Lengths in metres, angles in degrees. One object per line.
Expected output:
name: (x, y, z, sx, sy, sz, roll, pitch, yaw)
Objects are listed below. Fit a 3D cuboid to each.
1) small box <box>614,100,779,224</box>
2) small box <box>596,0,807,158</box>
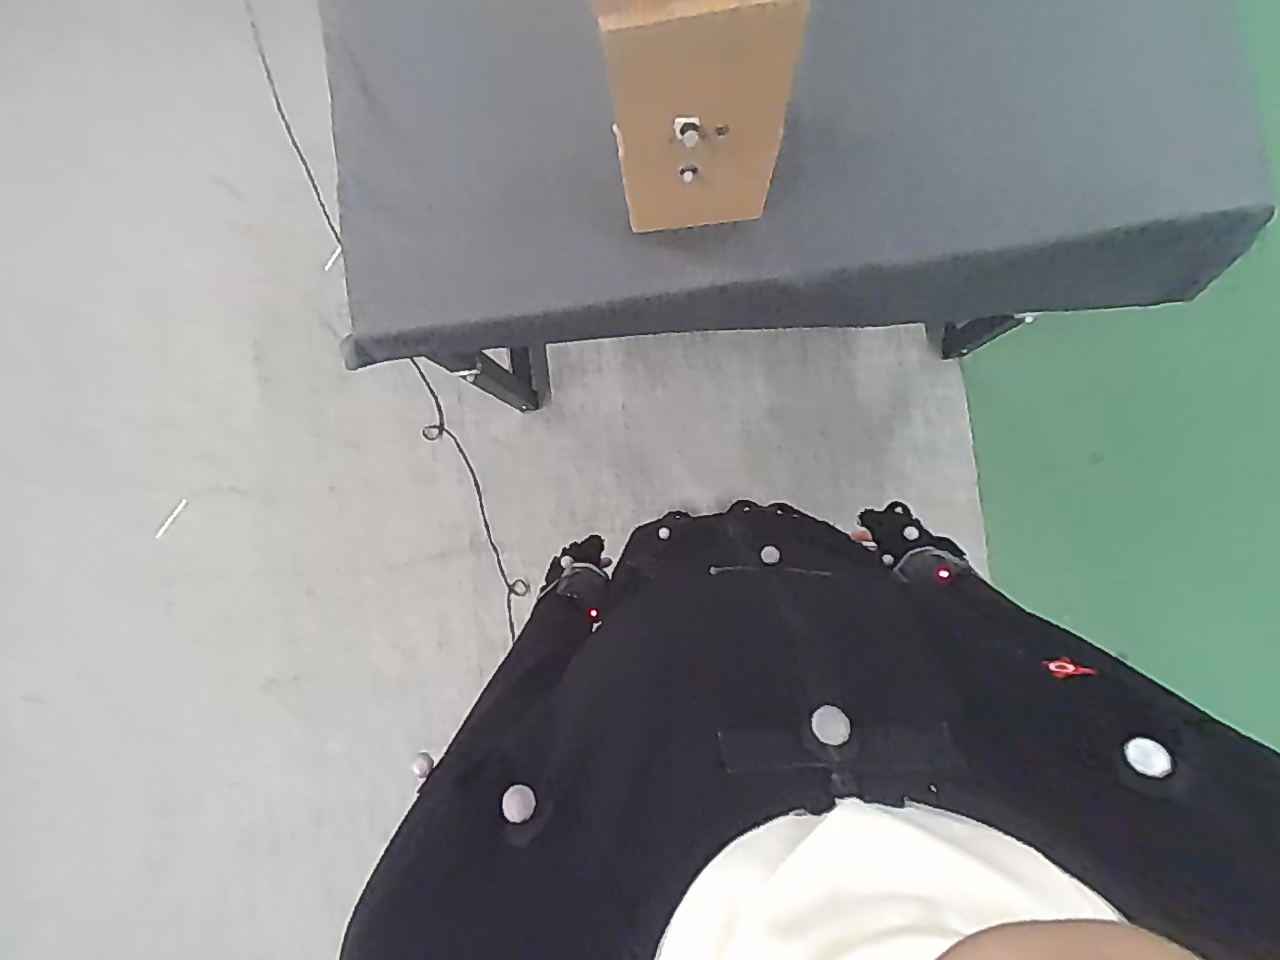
small box: (0.064, -0.435, 0.660, 0.179, 0.176, 0.168, -4, 87, 4)
small box: (0.050, -0.441, 0.499, 0.168, 0.176, 0.179, -5, 88, 7)
